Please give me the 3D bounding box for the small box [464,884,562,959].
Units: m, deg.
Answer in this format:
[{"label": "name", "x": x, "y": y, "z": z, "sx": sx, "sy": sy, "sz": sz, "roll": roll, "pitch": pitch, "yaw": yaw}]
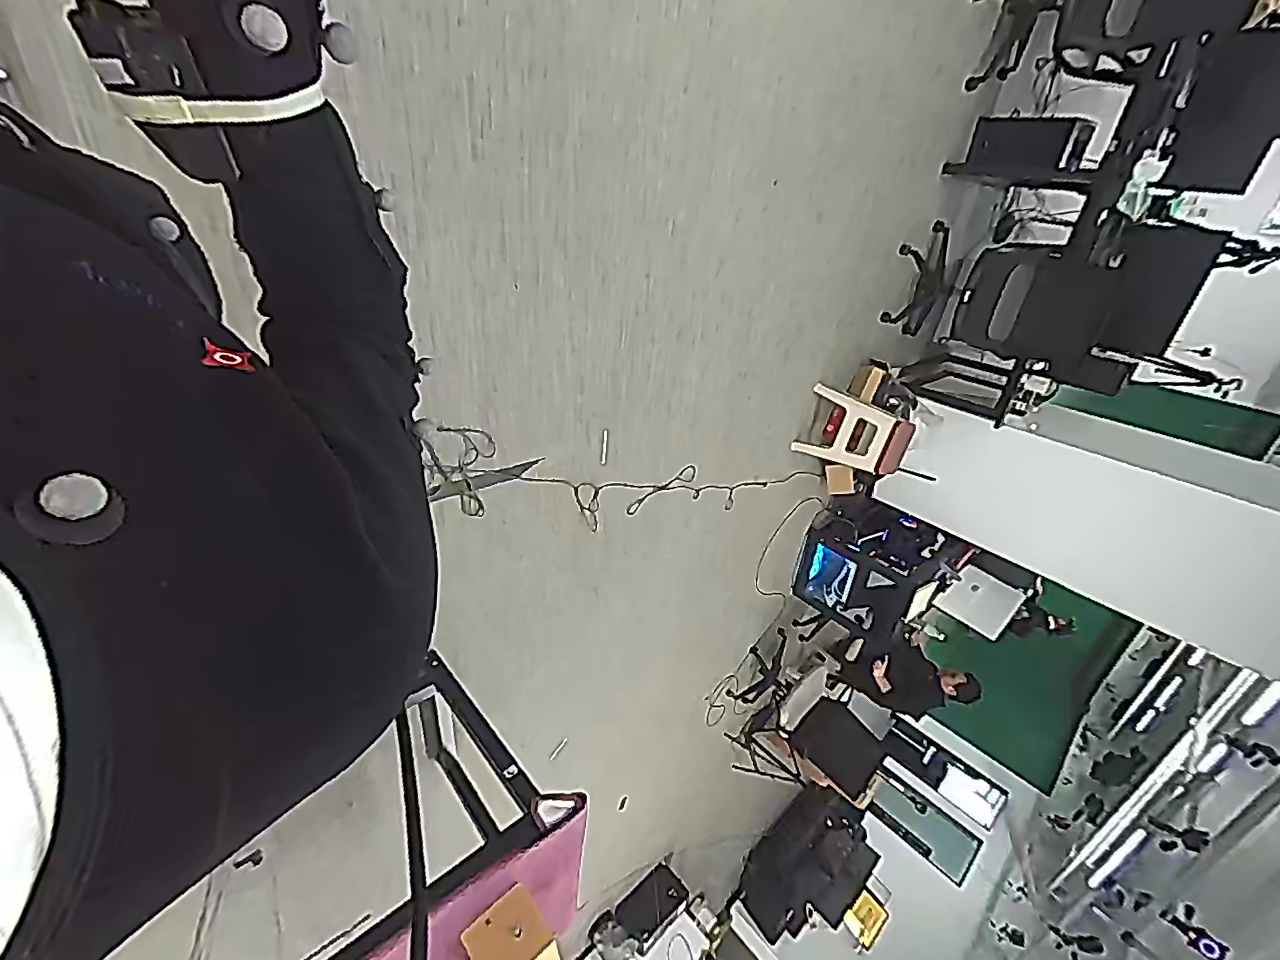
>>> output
[{"label": "small box", "x": -0.312, "y": 1.149, "z": 1.329, "sx": 0.168, "sy": 0.176, "sz": 0.179, "roll": -27, "pitch": 131, "yaw": -34}]
